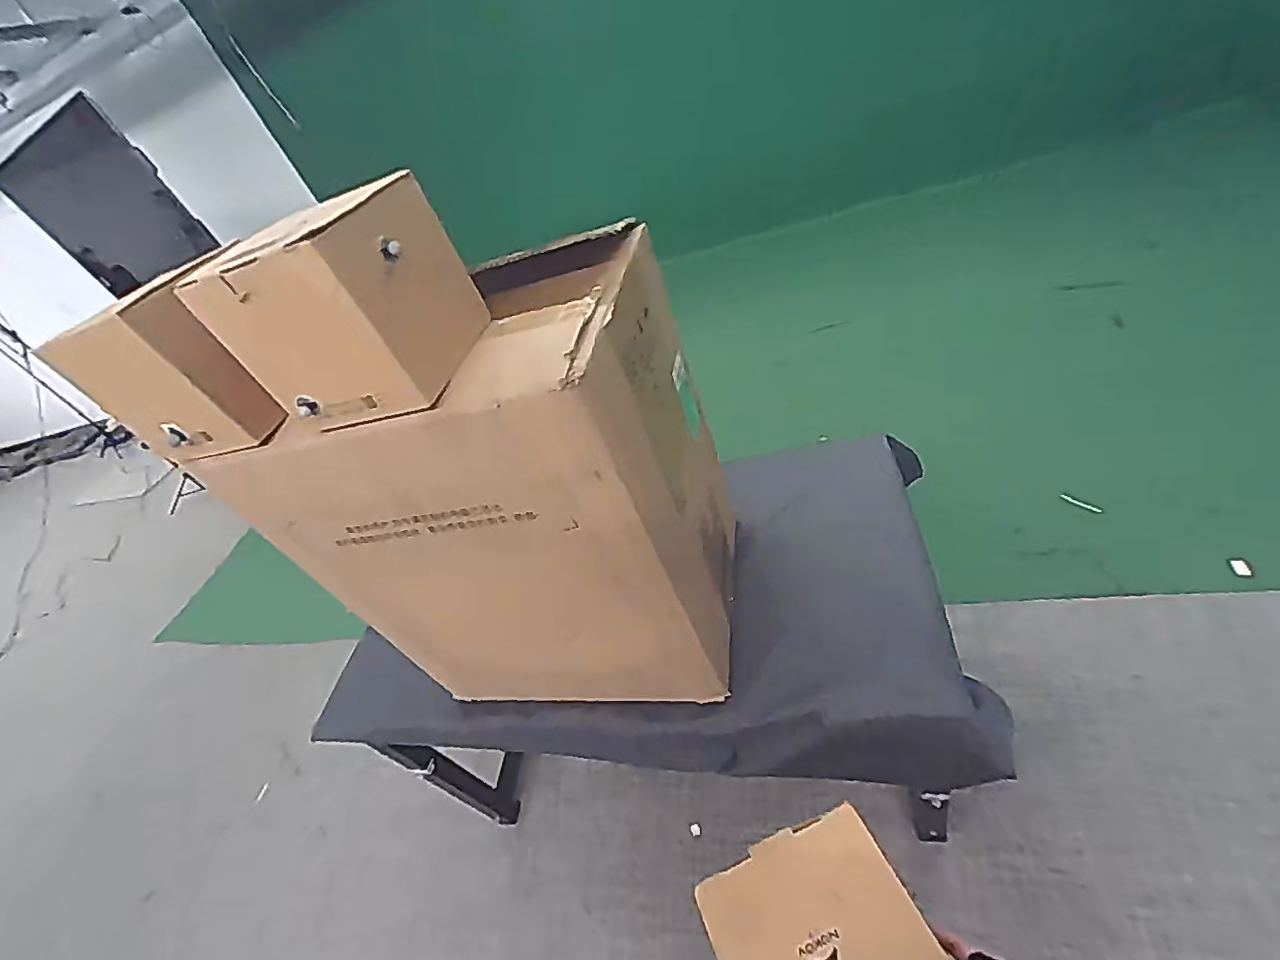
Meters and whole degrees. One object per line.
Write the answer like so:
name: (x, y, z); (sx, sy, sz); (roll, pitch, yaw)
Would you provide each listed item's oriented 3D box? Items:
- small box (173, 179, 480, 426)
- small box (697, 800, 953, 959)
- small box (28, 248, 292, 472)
small box: (-0.291, -0.169, 0.550); (0.168, 0.176, 0.179); (-8, 41, 18)
small box: (0.174, 0.433, 0.472); (0.168, 0.176, 0.179); (-27, 36, -4)
small box: (-0.506, -0.134, 0.628); (0.168, 0.176, 0.179); (-10, 43, 22)
